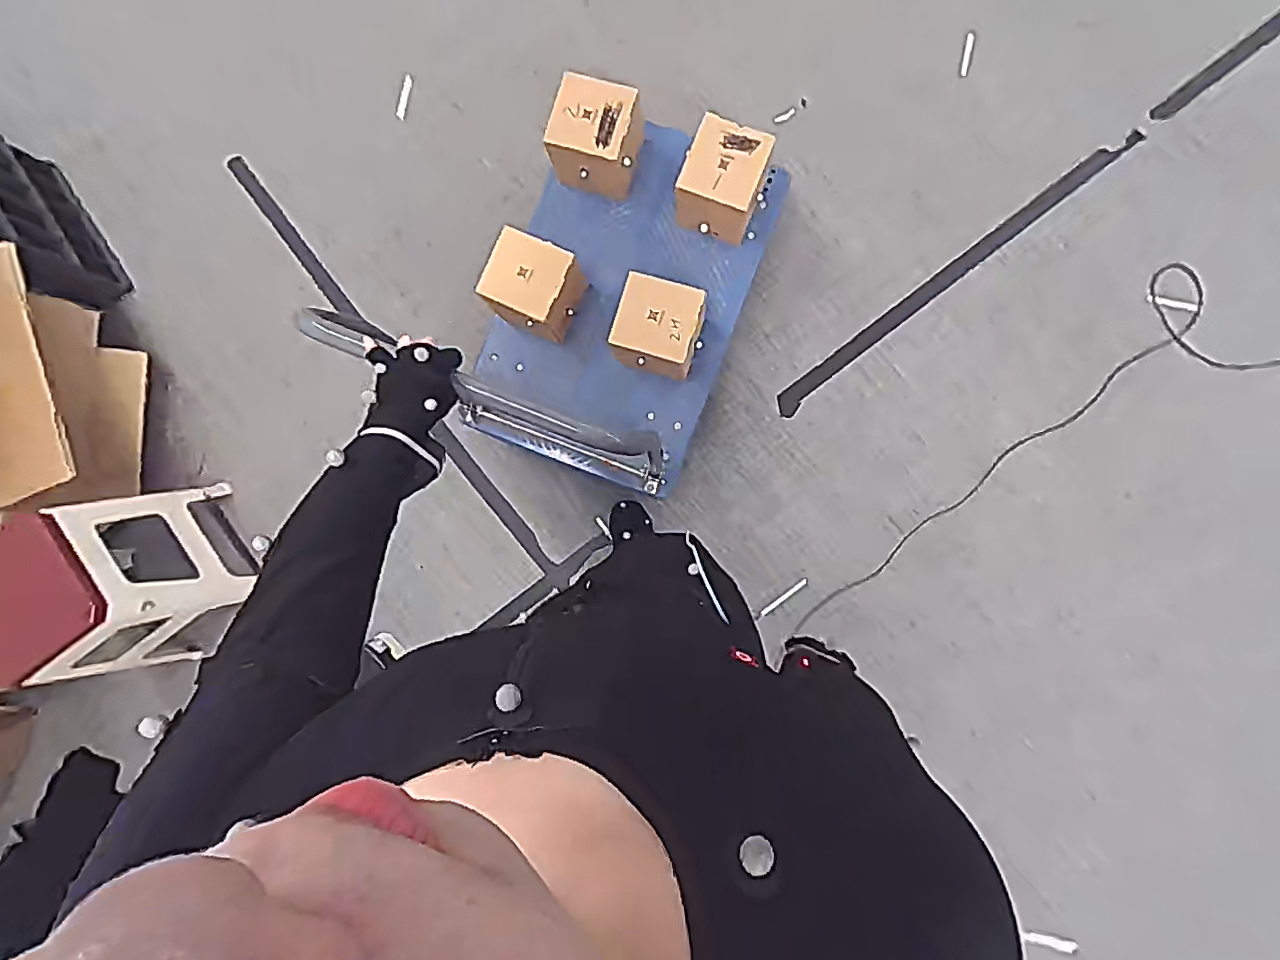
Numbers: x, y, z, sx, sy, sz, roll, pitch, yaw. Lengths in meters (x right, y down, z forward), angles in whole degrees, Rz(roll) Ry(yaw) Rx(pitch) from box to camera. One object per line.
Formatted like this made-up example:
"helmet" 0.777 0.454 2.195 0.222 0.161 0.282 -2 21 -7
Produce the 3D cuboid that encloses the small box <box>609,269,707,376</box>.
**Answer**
"small box" 0.045 -0.350 1.237 0.179 0.176 0.168 18 90 5

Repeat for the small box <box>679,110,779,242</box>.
"small box" 0.195 -0.683 1.234 0.168 0.176 0.179 23 92 5

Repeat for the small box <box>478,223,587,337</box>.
"small box" -0.244 -0.457 1.266 0.179 0.176 0.168 25 90 4
